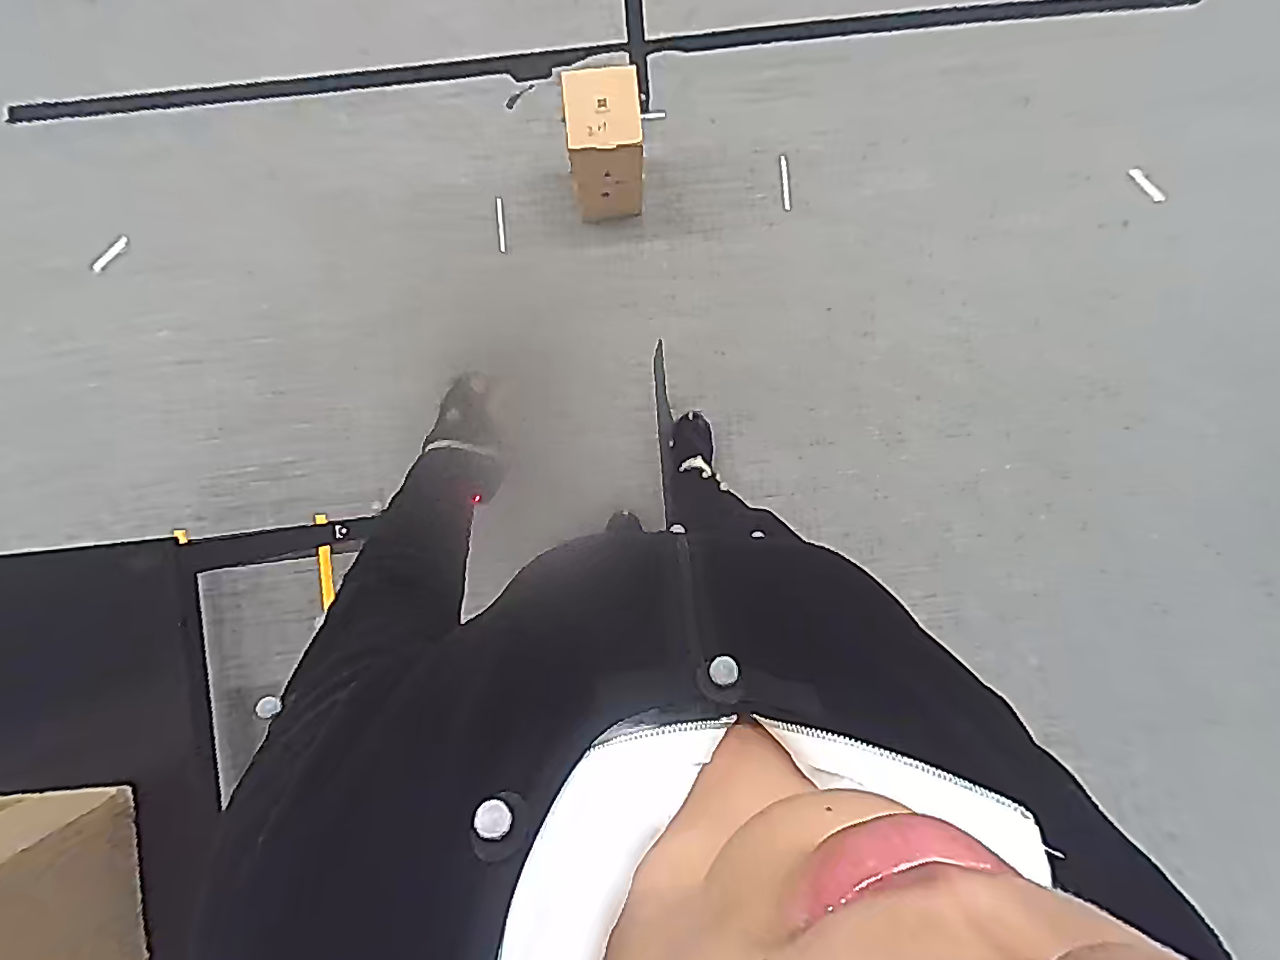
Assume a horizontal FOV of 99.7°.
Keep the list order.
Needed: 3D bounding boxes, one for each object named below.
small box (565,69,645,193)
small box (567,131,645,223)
[{"bbox_3d":[-0.078,-0.801,1.254,0.168,0.176,0.179,-6,90,0],"label":"small box"},{"bbox_3d":[-0.085,-0.799,1.419,0.179,0.176,0.168,-9,90,-1],"label":"small box"}]
